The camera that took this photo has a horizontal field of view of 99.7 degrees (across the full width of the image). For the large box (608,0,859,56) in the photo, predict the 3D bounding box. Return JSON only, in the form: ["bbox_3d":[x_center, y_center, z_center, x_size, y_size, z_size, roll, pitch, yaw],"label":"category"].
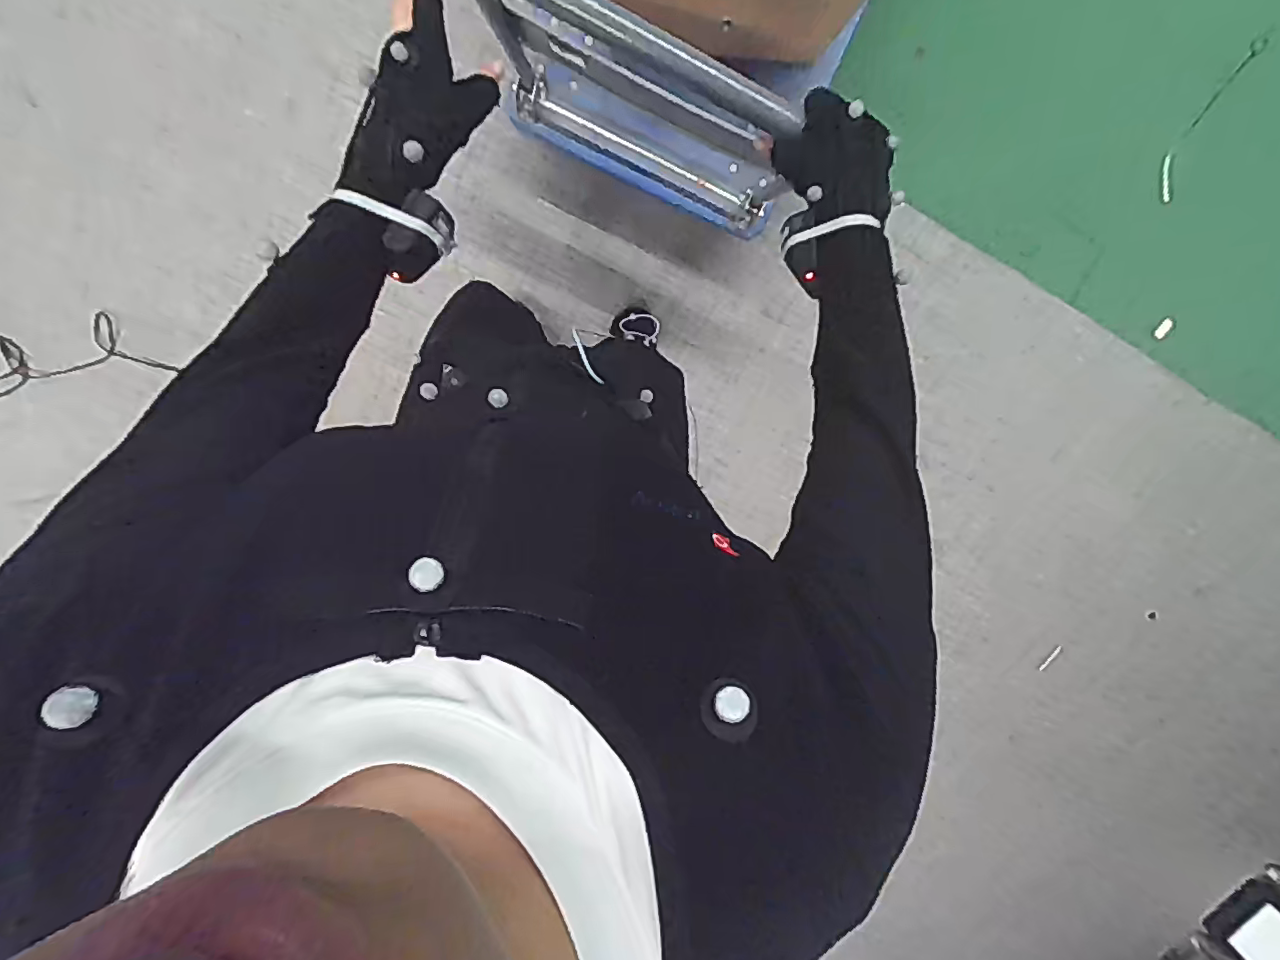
[{"bbox_3d":[0.154,-0.926,0.865,0.408,0.320,0.320,2,108,-2],"label":"large box"}]
